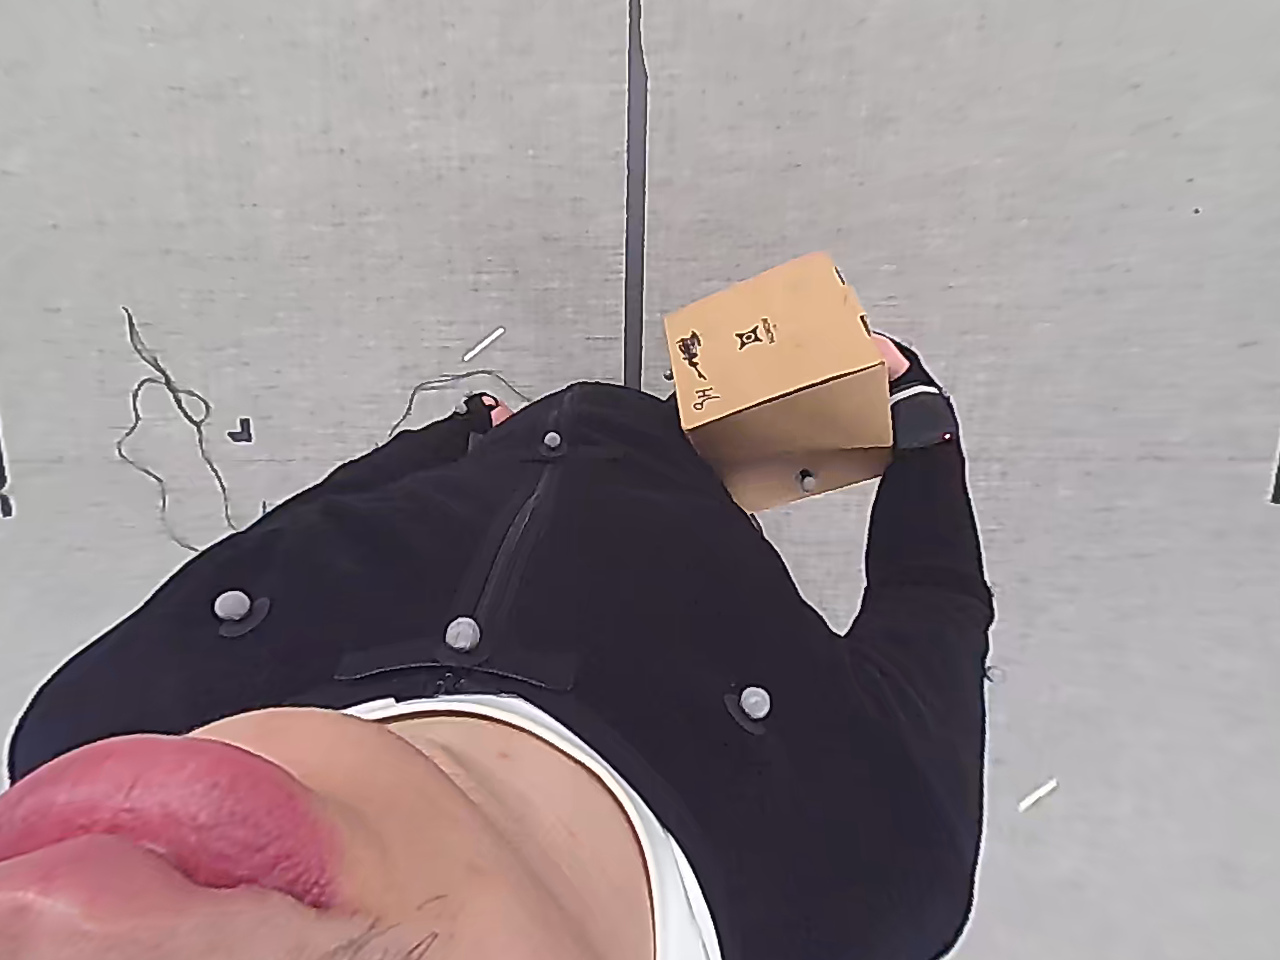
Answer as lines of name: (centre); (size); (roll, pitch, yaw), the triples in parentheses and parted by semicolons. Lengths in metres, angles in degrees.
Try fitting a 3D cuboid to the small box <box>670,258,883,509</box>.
small box: (0.148, -0.094, 0.582); (0.179, 0.168, 0.176); (-18, 141, 16)
